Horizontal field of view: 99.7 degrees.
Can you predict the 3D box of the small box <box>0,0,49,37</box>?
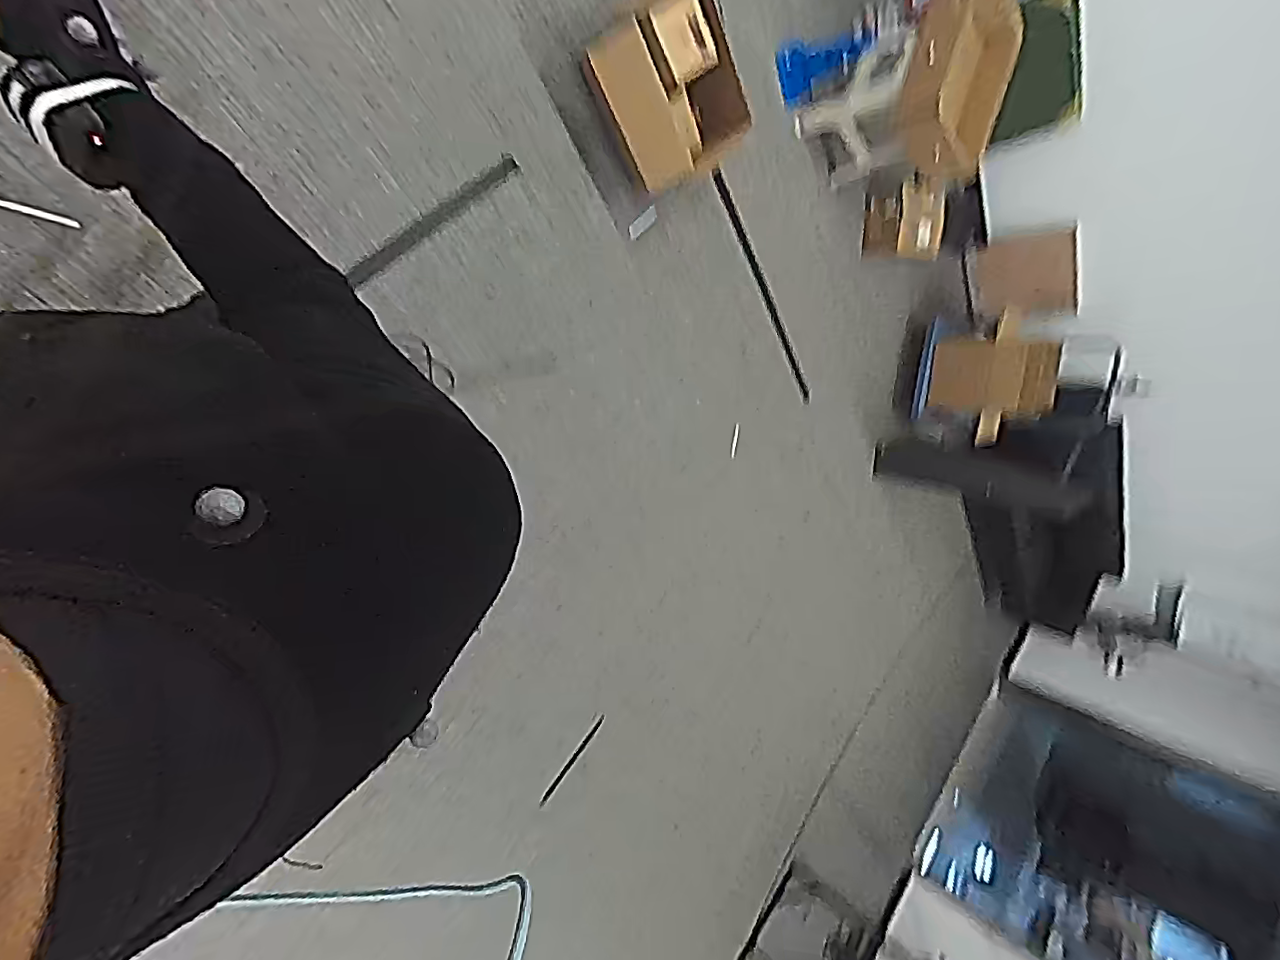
[{"bbox_3d":[-0.579,-0.464,0.380,0.168,0.176,0.179,-22,113,-34],"label":"small box"}]
